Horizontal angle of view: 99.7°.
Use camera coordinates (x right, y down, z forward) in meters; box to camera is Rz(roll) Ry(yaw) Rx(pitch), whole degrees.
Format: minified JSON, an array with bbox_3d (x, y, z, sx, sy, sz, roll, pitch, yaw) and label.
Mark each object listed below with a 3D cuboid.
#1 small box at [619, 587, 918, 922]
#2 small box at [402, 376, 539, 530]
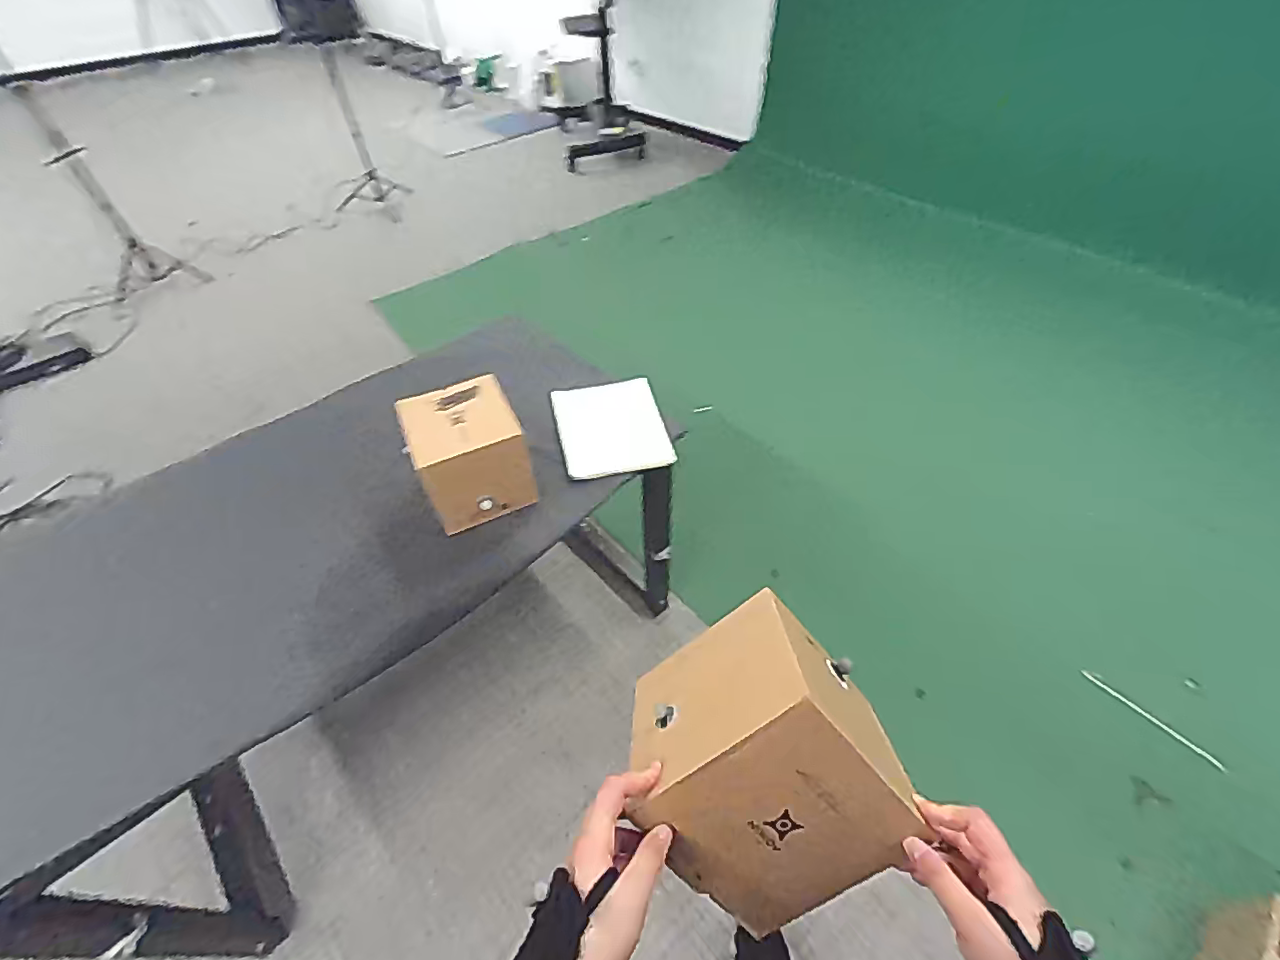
[{"bbox_3d":[0.102,0.235,0.496,0.179,0.168,0.176,-42,12,12],"label":"small box"},{"bbox_3d":[-0.288,-0.046,0.936,0.168,0.176,0.179,-22,51,-16],"label":"small box"}]
